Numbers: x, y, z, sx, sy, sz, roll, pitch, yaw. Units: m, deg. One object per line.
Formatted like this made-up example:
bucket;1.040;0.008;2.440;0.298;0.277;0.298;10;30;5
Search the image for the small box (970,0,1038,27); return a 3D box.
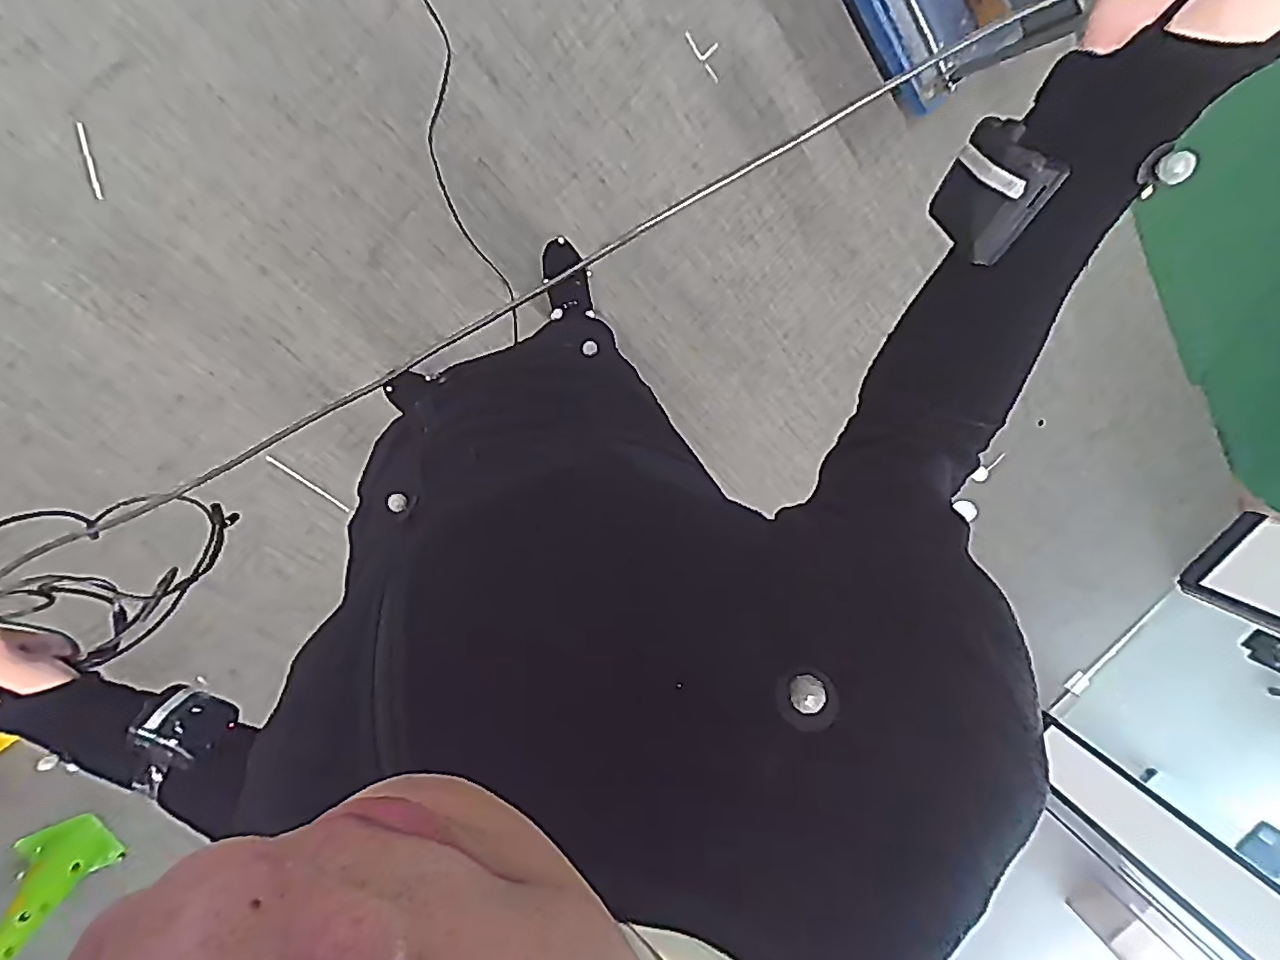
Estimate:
small box;0.897;-1.227;1.260;0.179;0.176;0.168;-44;114;3
